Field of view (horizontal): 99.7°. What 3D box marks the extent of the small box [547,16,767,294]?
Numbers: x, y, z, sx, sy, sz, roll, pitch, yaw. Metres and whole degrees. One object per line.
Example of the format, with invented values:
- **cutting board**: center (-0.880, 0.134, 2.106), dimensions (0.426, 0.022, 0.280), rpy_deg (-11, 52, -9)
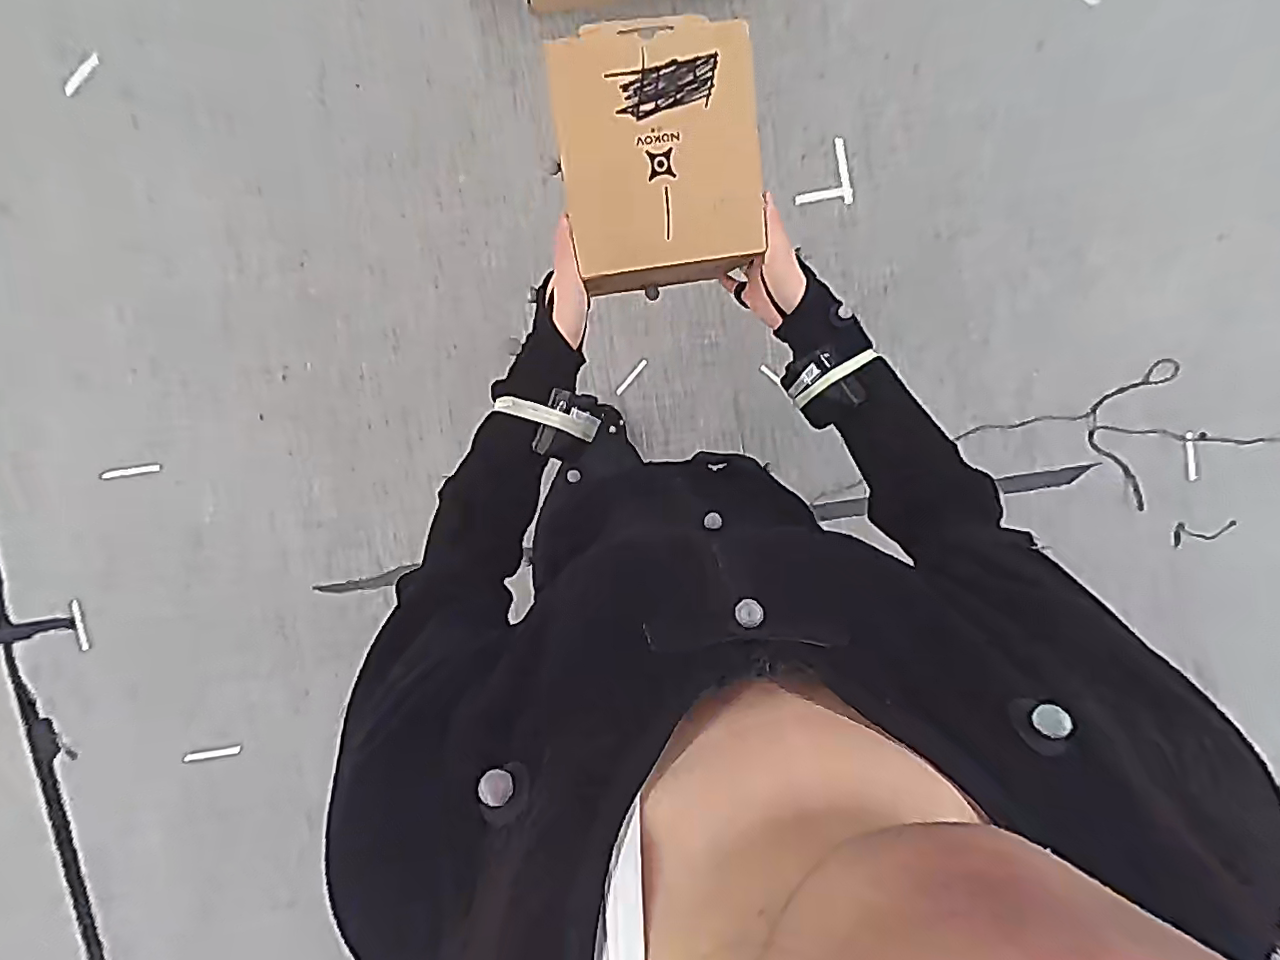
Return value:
- **small box**: center (0.009, -0.287, 0.516), dimensions (0.168, 0.176, 0.179), rpy_deg (-10, 104, -3)
